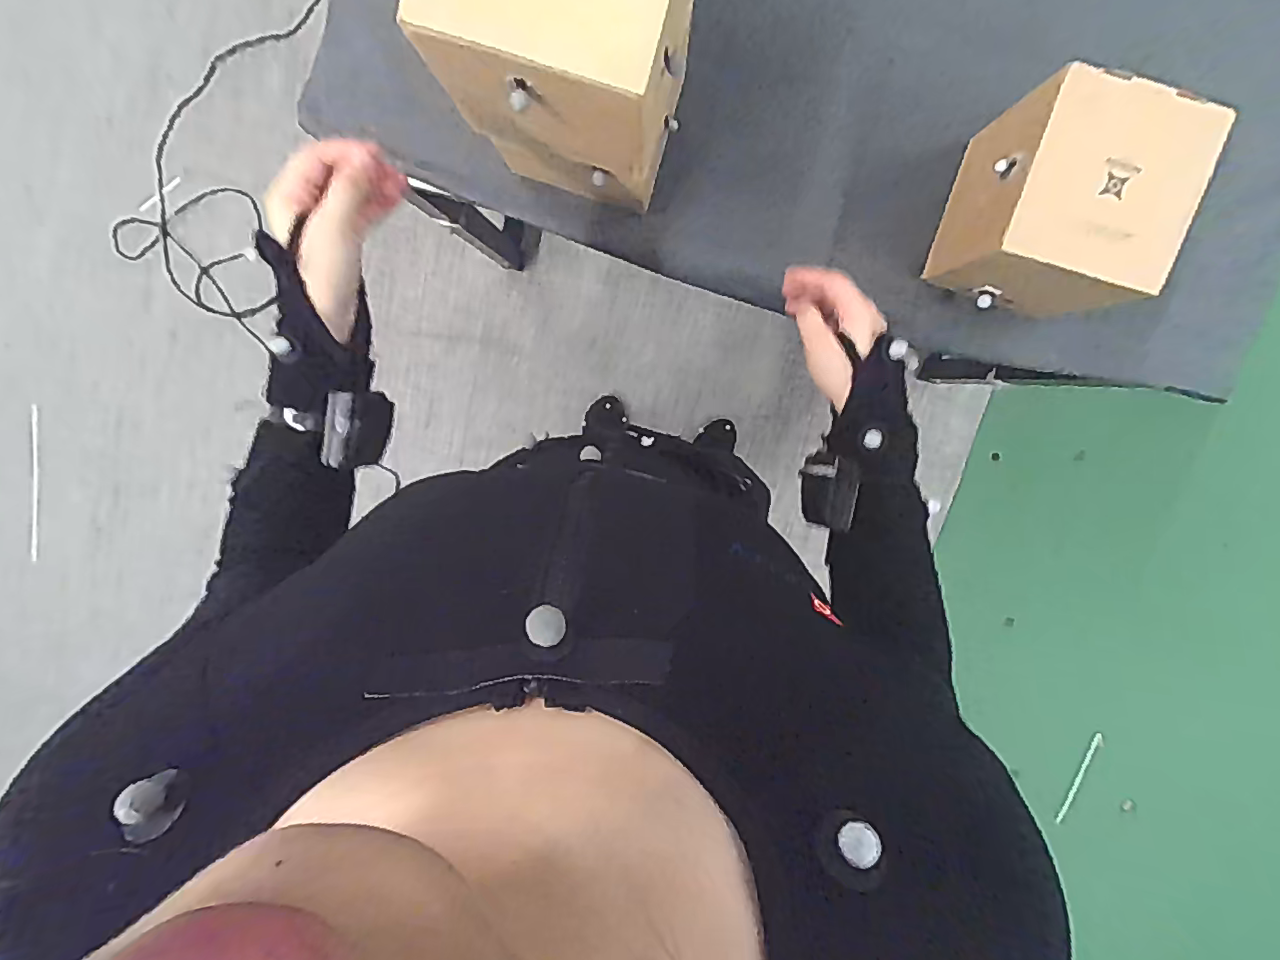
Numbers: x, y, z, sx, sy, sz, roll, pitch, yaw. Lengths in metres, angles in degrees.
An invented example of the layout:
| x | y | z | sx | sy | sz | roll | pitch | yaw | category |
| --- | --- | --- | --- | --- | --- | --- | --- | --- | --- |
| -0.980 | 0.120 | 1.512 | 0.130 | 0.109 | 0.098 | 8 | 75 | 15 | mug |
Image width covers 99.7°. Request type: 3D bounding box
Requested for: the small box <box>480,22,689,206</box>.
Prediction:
| x | y | z | sx | sy | sz | roll | pitch | yaw | category |
| --- | --- | --- | --- | --- | --- | --- | --- | --- | --- |
| -0.054 | -0.421 | 0.584 | 0.179 | 0.176 | 0.168 | 17 | 101 | -2 | small box |

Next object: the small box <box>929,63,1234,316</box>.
| x | y | z | sx | sy | sz | roll | pitch | yaw | category |
| --- | --- | --- | --- | --- | --- | --- | --- | --- | --- |
| 0.453 | -0.295 | 0.592 | 0.168 | 0.176 | 0.179 | 15 | 100 | 0 | small box |

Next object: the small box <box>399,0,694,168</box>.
| x | y | z | sx | sy | sz | roll | pitch | yaw | category |
| --- | --- | --- | --- | --- | --- | --- | --- | --- | --- |
| -0.055 | -0.375 | 0.428 | 0.179 | 0.176 | 0.168 | 16 | 102 | -1 | small box |
